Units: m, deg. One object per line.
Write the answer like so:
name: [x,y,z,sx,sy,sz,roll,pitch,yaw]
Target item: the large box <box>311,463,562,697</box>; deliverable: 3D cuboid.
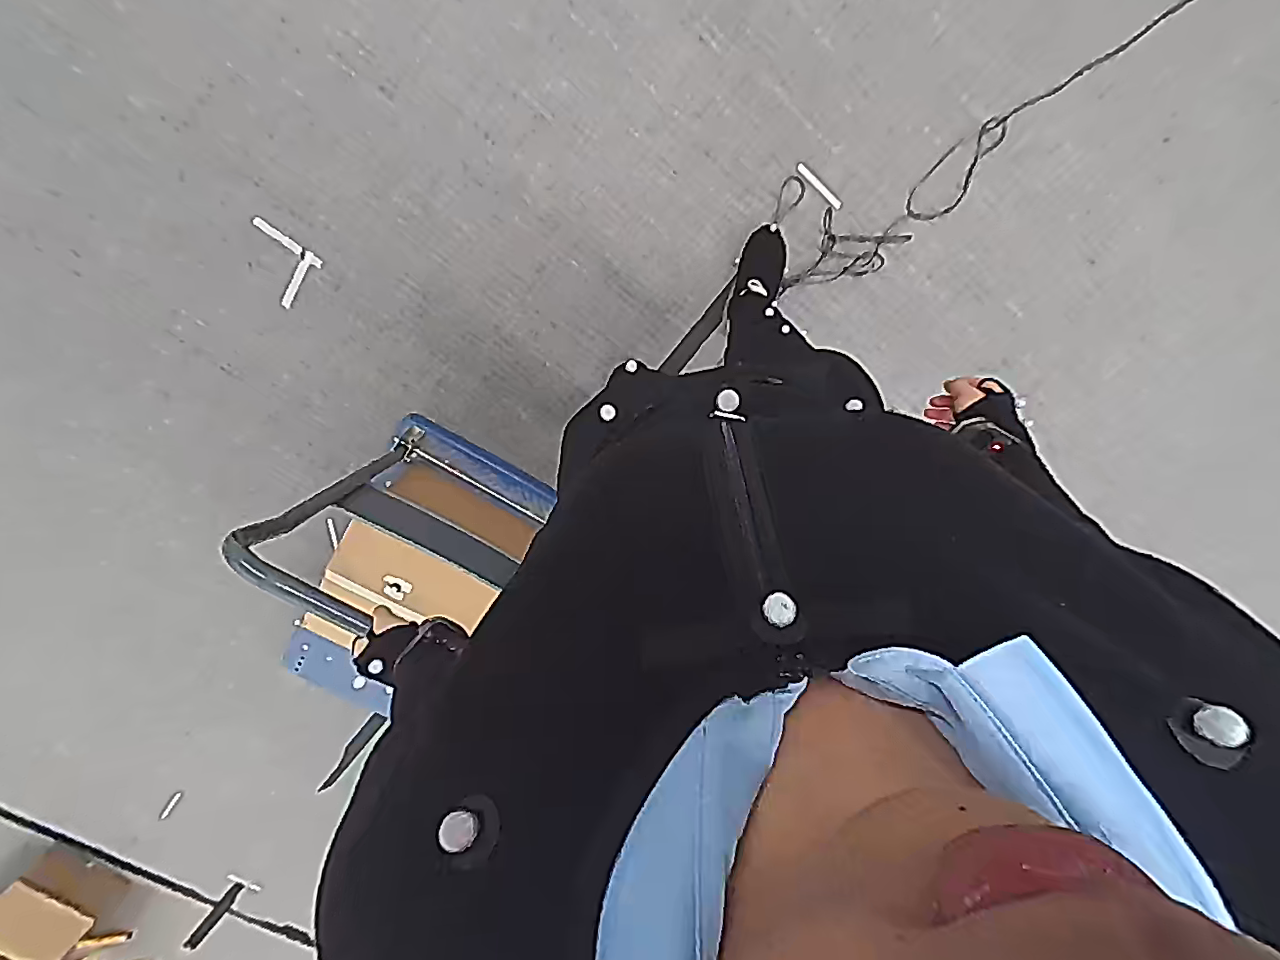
large box: [-0.448,0.221,1.273,0.408,0.320,0.320,31,107,-9]
